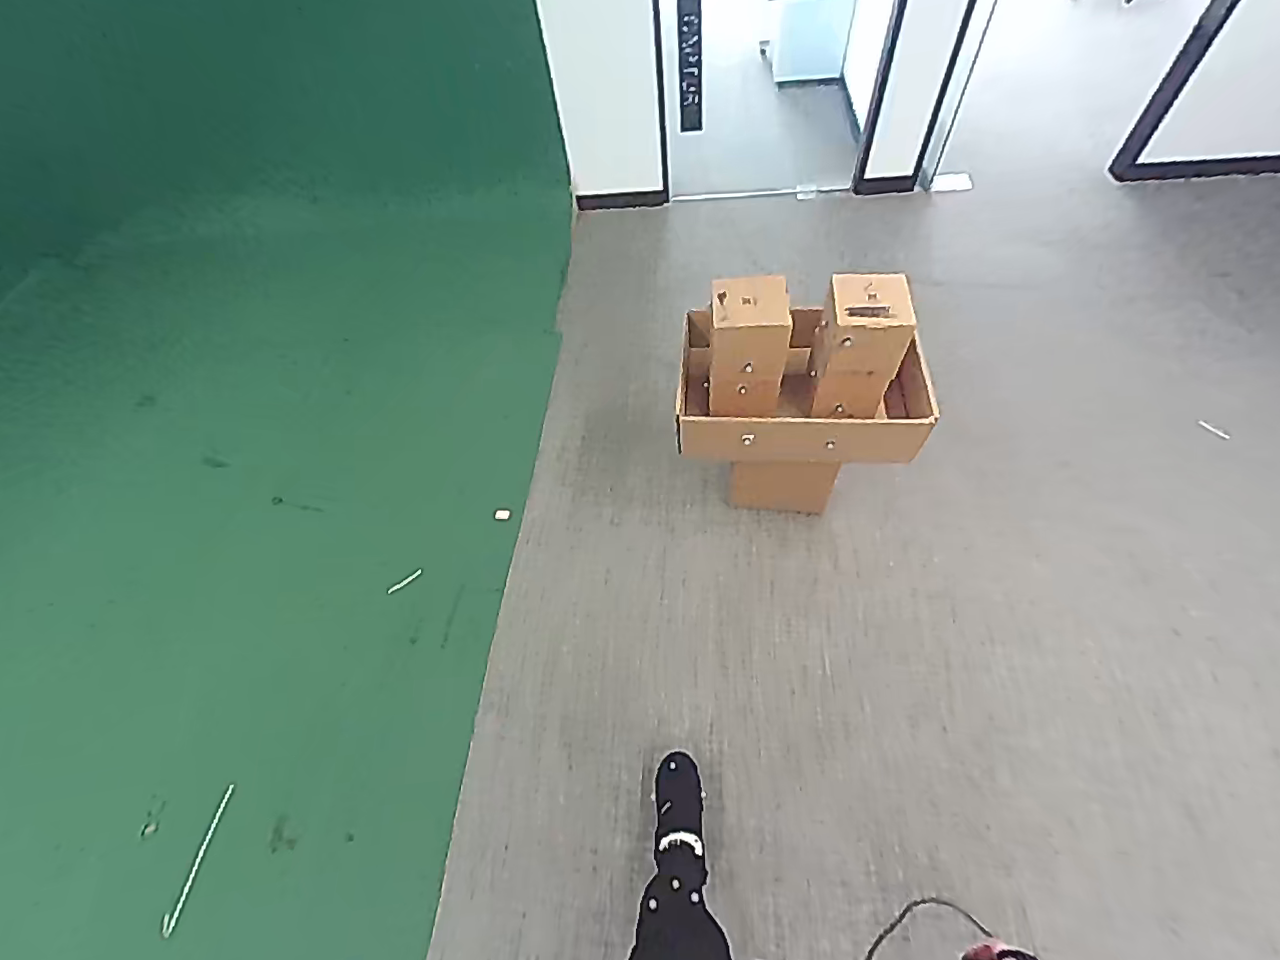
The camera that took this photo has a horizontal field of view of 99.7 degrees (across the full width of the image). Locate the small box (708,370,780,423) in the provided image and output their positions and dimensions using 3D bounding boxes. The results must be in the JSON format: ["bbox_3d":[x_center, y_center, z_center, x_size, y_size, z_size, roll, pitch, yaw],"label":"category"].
[{"bbox_3d":[0.272,-0.267,1.447,0.179,0.176,0.168,2,57,6],"label":"small box"}]

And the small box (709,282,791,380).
[{"bbox_3d":[0.258,-0.356,1.309,0.179,0.176,0.168,0,57,5],"label":"small box"}]
